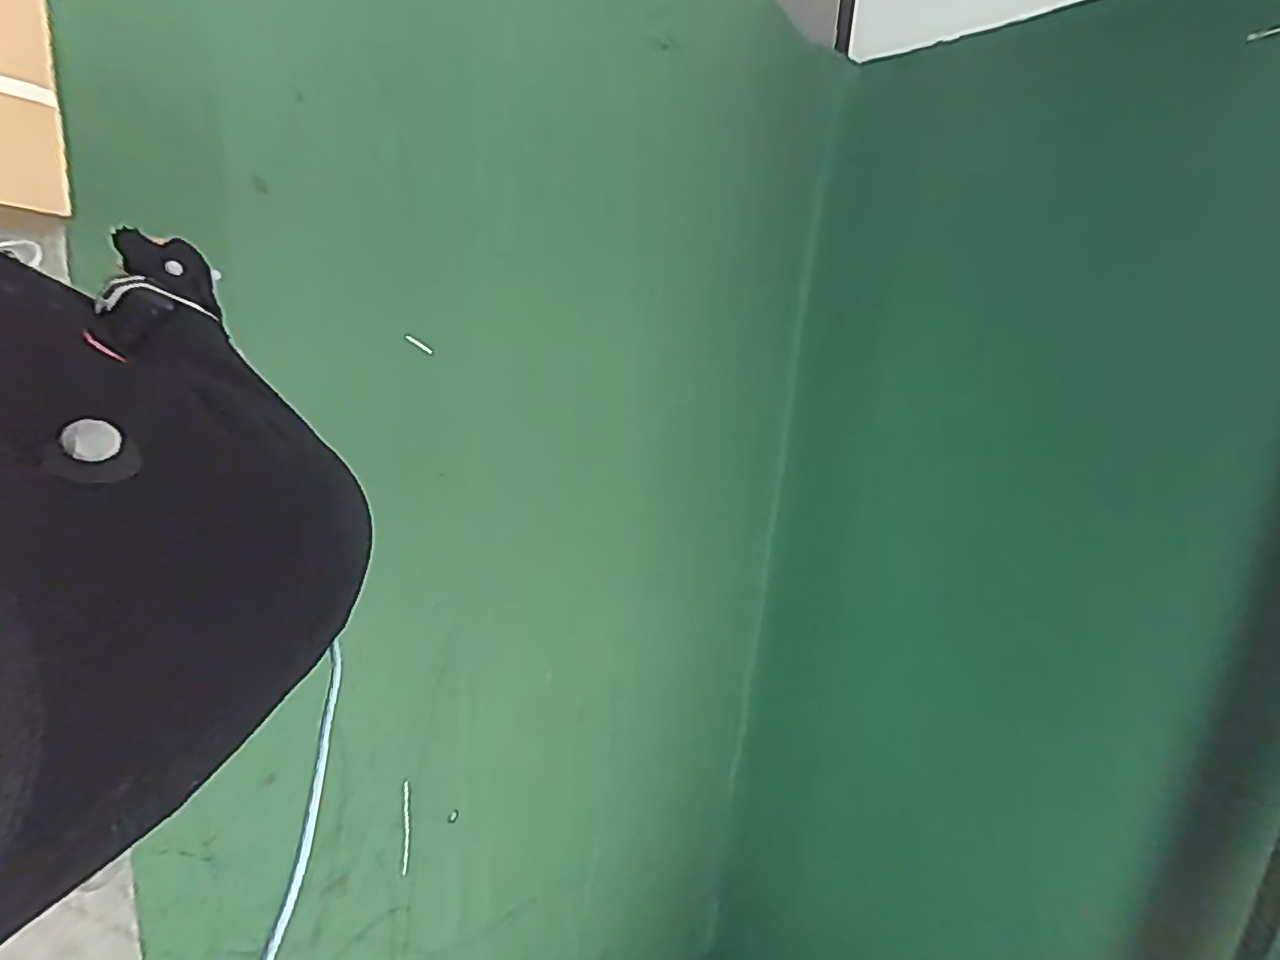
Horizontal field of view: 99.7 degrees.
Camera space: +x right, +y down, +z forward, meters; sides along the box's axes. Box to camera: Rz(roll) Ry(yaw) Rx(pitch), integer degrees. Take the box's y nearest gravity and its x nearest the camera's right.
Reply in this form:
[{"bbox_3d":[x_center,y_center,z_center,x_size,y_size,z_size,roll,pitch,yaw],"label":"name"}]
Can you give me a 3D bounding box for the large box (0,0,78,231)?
[{"bbox_3d":[-1.078,-0.556,0.725,0.408,0.320,0.320,-9,108,-50],"label":"large box"}]
